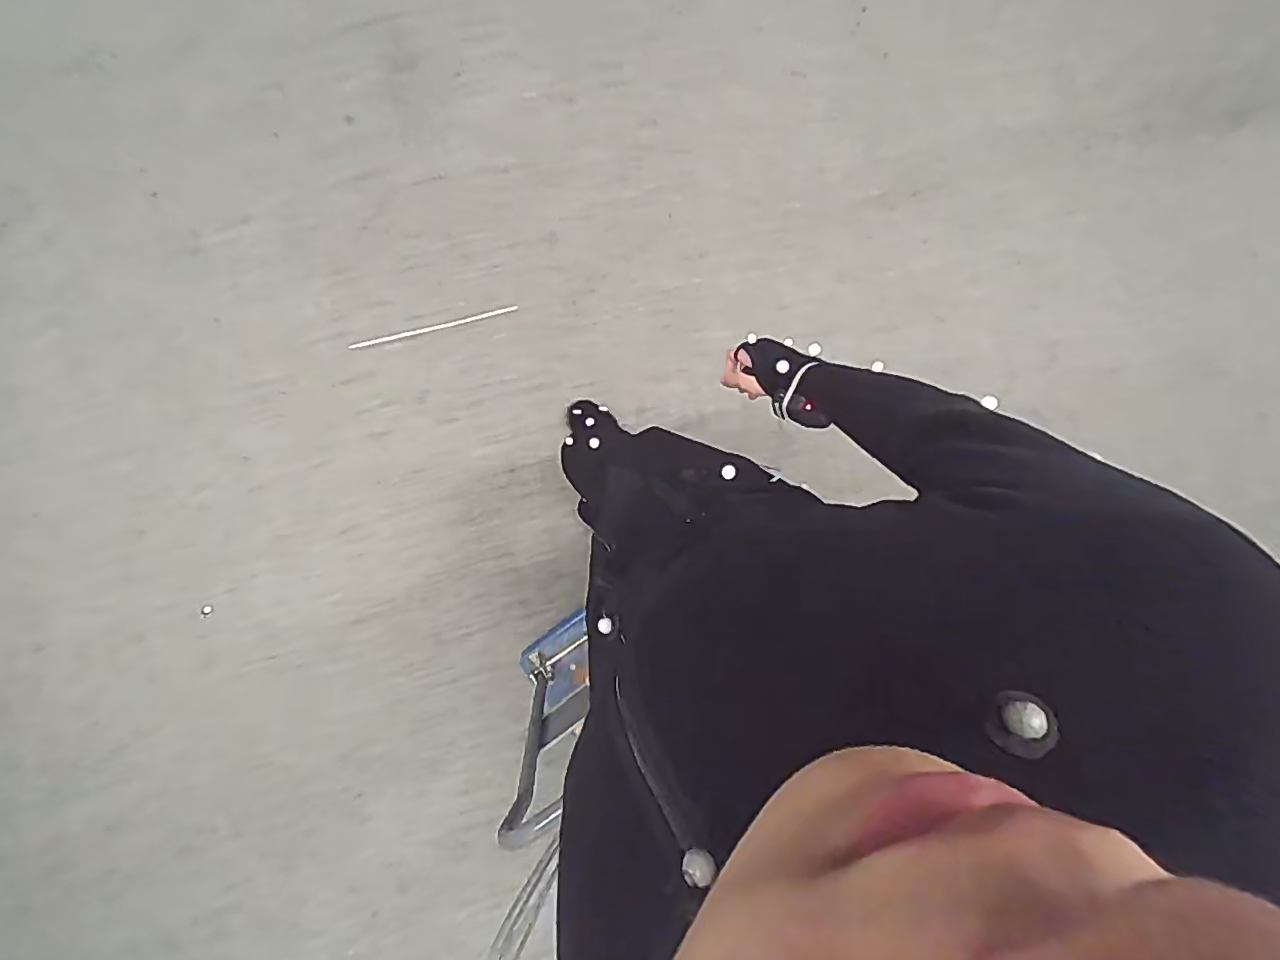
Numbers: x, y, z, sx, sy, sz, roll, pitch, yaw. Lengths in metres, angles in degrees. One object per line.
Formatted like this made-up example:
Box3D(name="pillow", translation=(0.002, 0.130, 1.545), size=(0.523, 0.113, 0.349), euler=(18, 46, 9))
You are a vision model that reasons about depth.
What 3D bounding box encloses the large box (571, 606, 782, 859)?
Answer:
Box3D(name="large box", translation=(0.068, 0.592, 1.335), size=(0.320, 0.320, 0.408), euler=(-36, 98, -2))
